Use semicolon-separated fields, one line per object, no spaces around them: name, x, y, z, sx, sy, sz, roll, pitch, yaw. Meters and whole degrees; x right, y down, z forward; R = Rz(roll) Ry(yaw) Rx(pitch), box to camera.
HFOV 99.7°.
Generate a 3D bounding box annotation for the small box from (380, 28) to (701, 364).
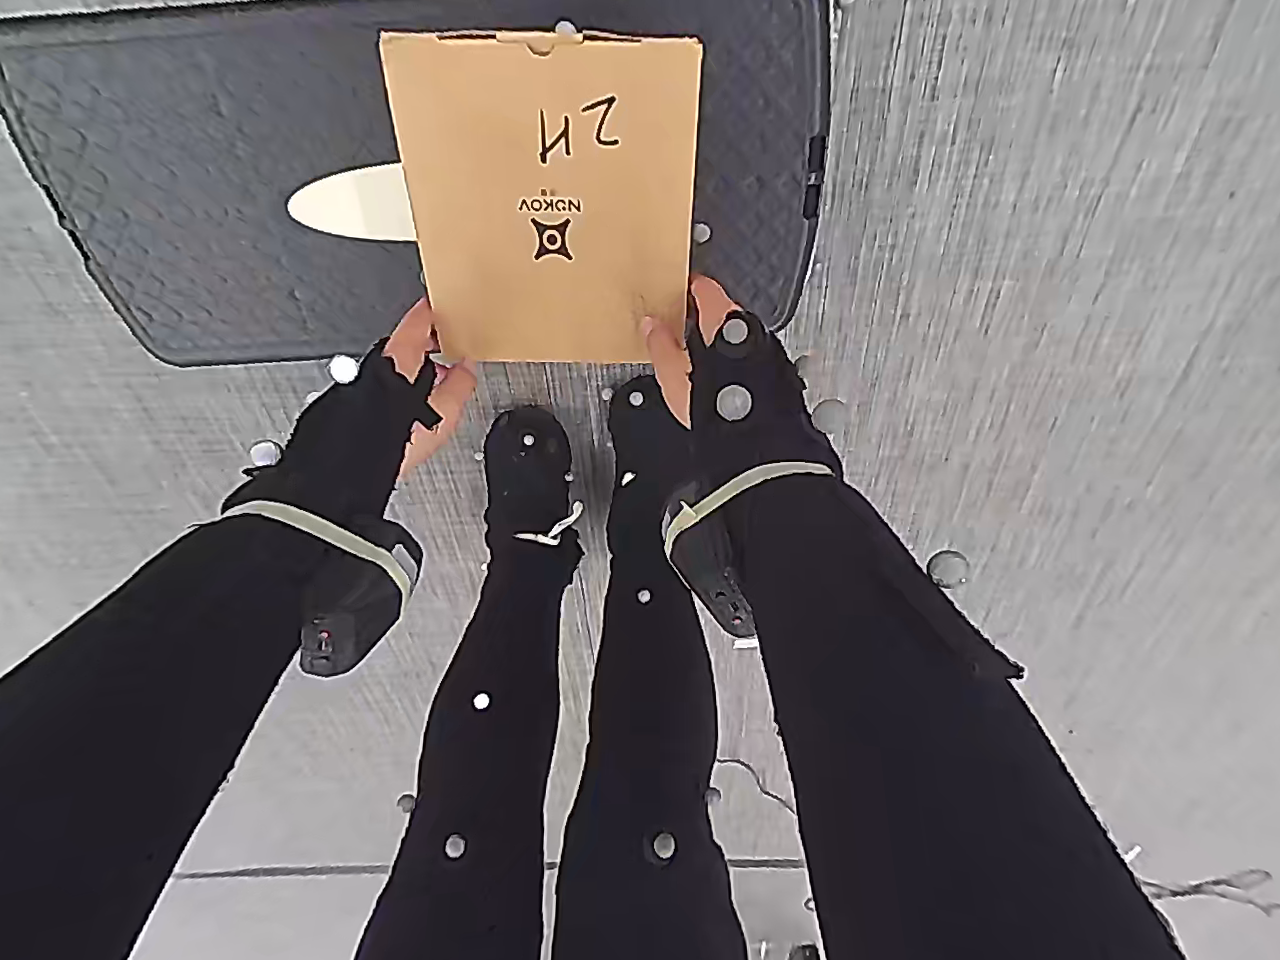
small box;-0.051;-0.197;0.385;0.168;0.176;0.179;1;124;-1
